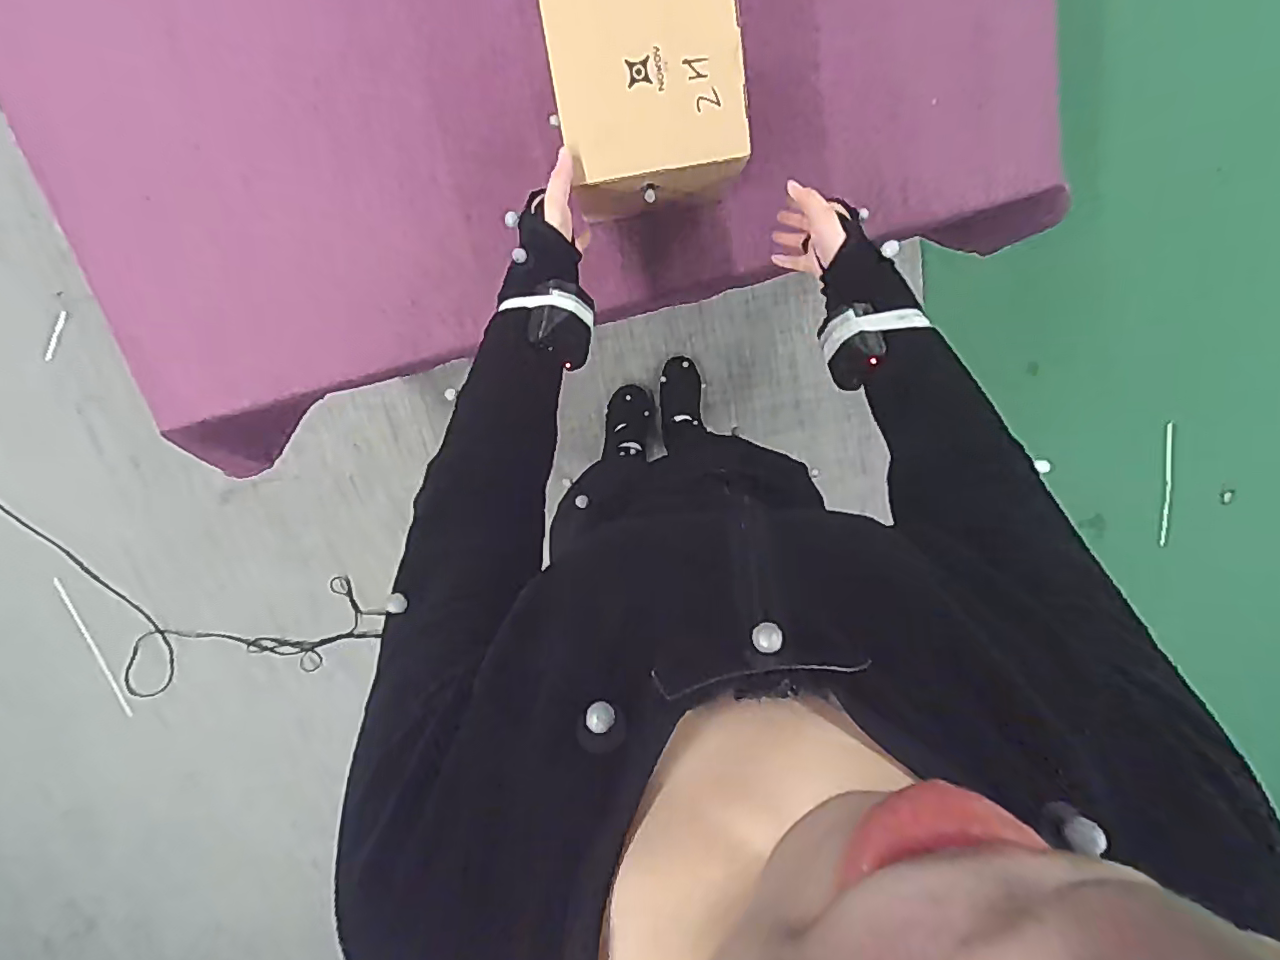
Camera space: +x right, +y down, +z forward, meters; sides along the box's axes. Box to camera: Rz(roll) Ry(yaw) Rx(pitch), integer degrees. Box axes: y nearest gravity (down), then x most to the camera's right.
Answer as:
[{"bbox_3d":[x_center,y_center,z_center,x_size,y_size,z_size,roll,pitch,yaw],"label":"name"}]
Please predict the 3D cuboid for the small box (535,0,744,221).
[{"bbox_3d":[0.004,-0.389,0.573,0.179,0.176,0.168,-8,105,3],"label":"small box"}]
